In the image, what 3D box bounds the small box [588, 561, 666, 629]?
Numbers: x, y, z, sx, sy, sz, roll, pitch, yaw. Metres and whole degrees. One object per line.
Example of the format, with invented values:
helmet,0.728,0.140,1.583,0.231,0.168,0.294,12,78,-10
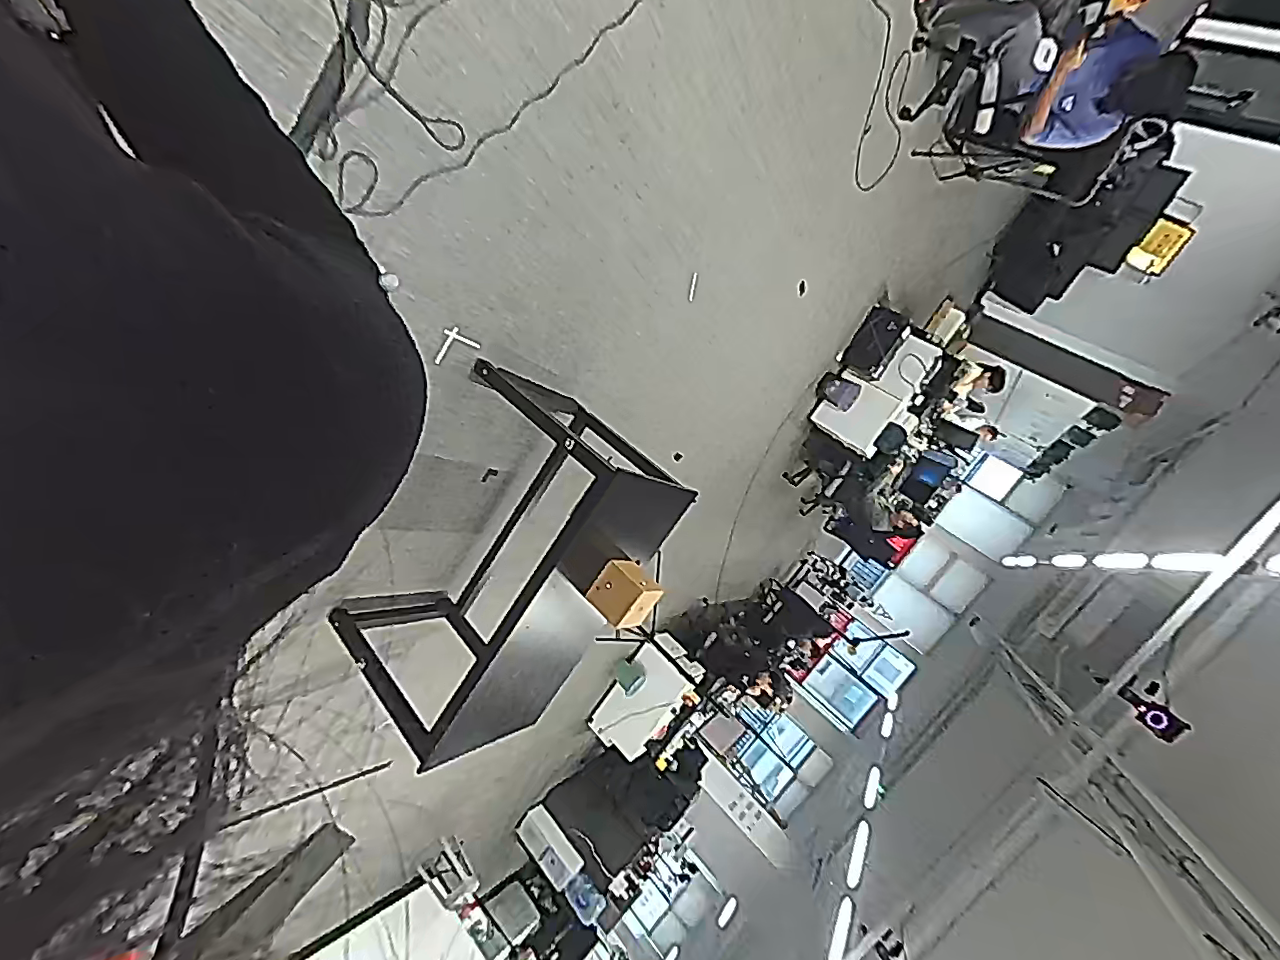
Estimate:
small box,-0.046,0.398,1.895,0.168,0.176,0.179,-56,152,9
